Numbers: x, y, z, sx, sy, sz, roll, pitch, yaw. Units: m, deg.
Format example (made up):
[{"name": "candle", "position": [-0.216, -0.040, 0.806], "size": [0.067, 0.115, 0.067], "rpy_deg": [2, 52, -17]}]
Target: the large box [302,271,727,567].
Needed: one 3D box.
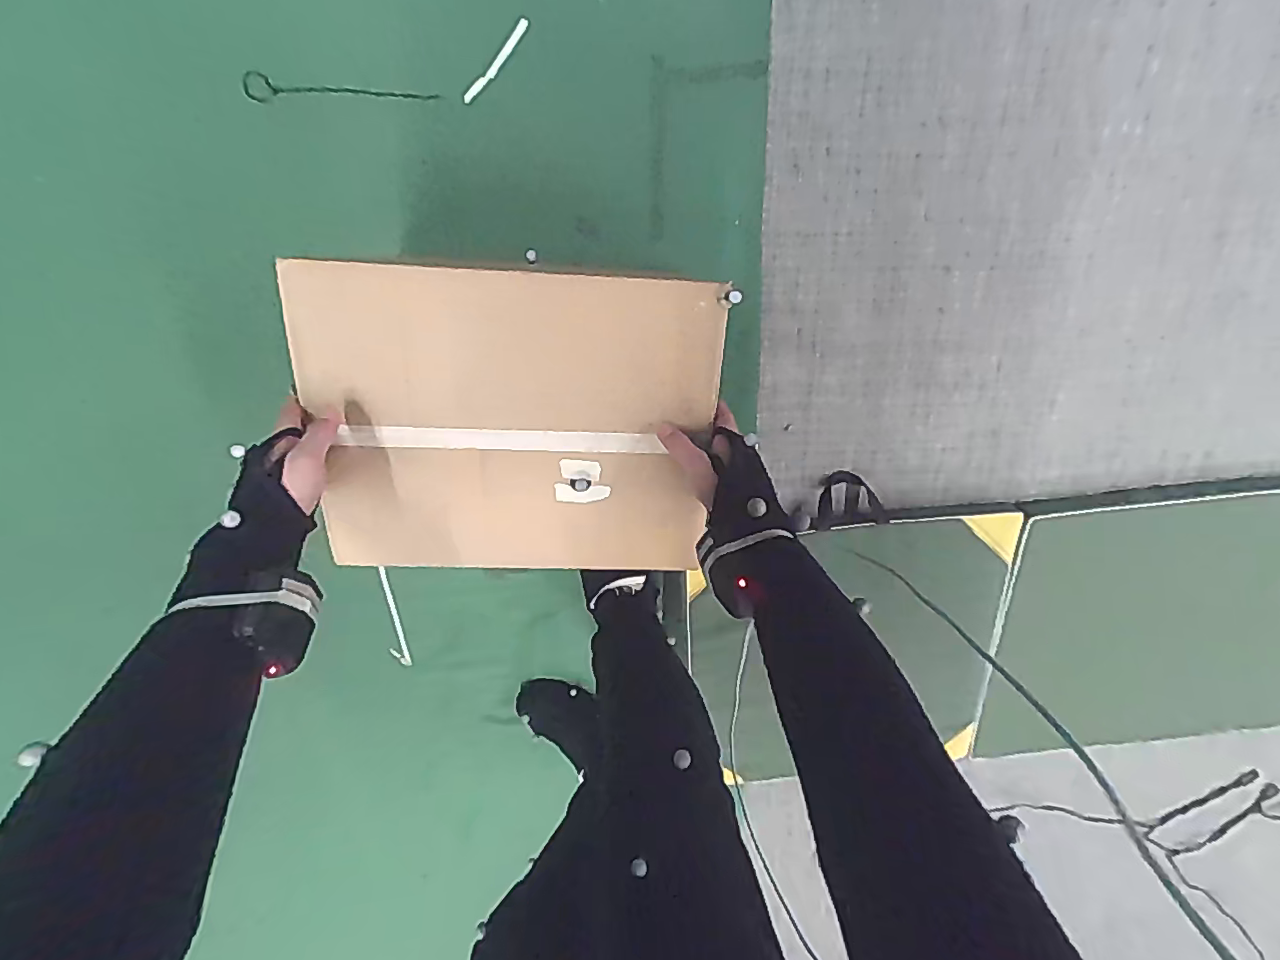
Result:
[{"name": "large box", "position": [-0.130, -0.100, 0.699], "size": [0.408, 0.320, 0.320], "rpy_deg": [1, 113, -5]}]
